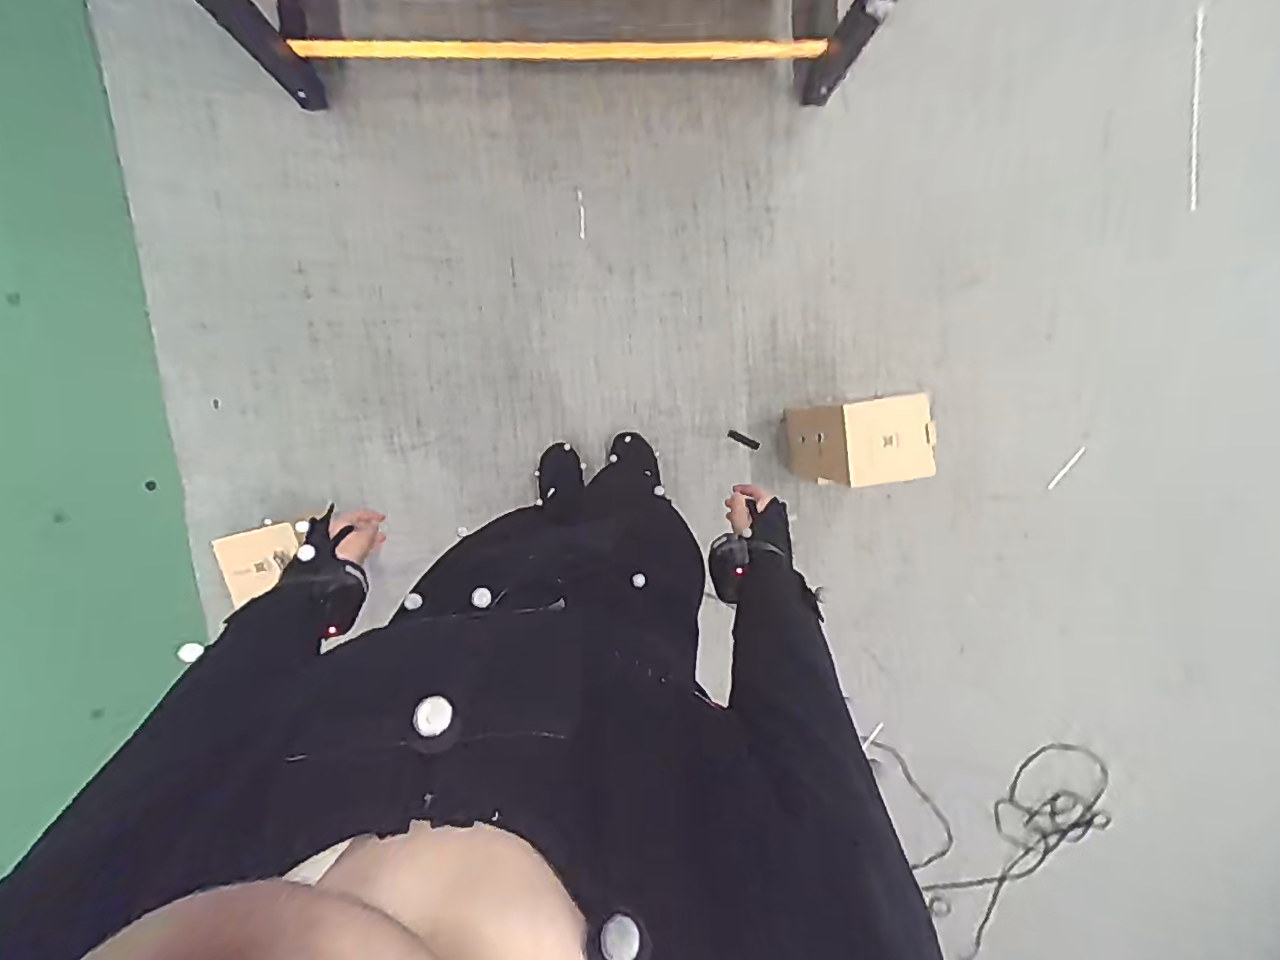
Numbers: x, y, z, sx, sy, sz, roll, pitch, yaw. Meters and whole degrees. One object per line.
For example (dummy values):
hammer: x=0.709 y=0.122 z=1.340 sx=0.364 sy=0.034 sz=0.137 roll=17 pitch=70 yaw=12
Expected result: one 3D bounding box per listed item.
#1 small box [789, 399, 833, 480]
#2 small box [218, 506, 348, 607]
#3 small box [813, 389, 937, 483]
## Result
small box: x=0.465 y=-0.105 z=1.286 sx=0.168 sy=0.176 sz=0.179 roll=-9 pitch=97 yaw=-3
small box: x=-0.798 y=0.167 z=1.236 sx=0.179 sy=0.176 sz=0.168 roll=-14 pitch=98 yaw=-1
small box: x=0.481 y=-0.095 z=1.123 sx=0.179 sy=0.176 sz=0.168 roll=-9 pitch=97 yaw=-2
